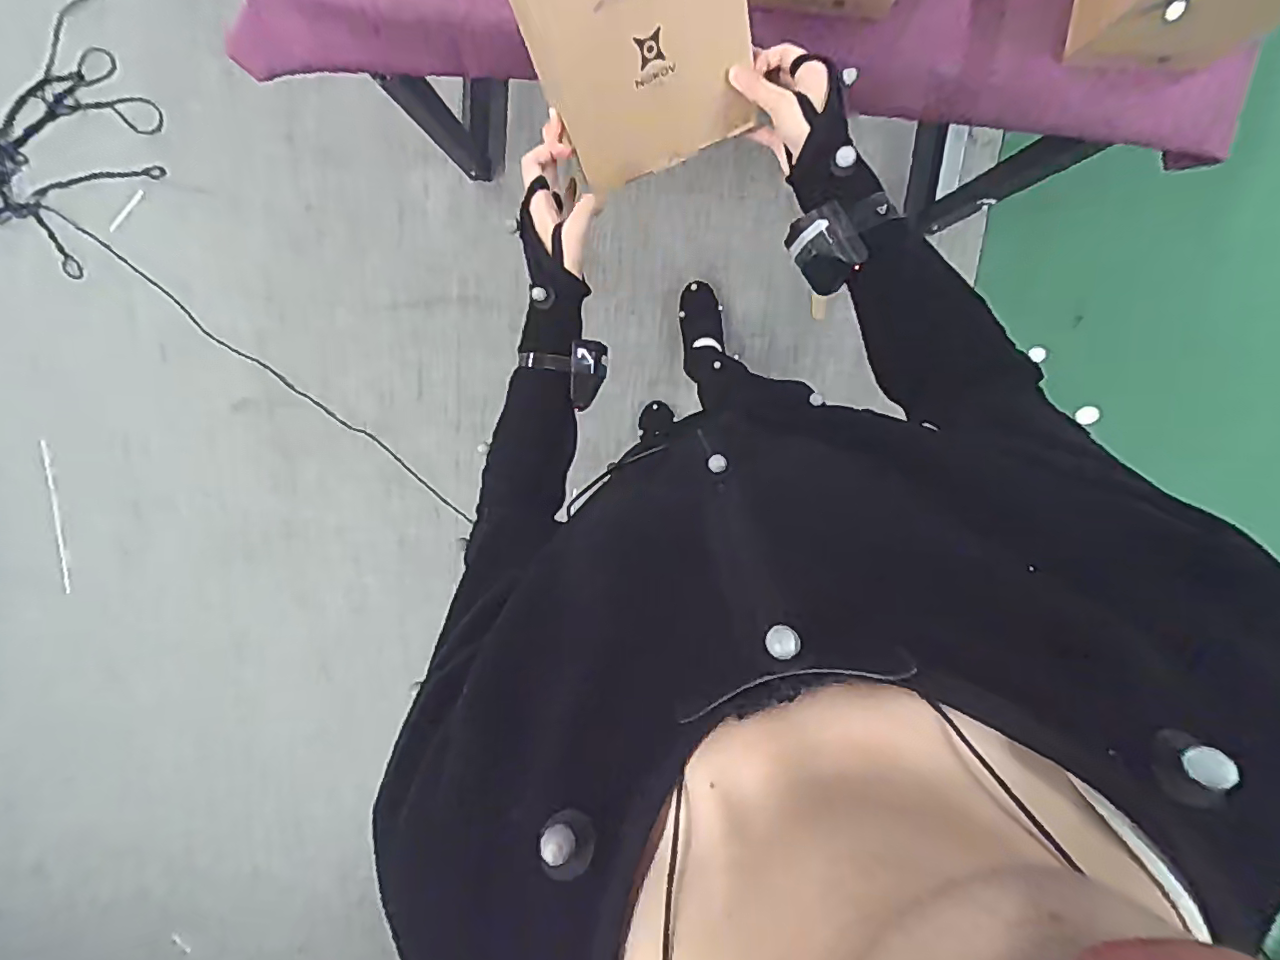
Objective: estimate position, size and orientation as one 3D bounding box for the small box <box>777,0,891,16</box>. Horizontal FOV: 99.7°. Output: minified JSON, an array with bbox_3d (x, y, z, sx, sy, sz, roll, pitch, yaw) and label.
[{"bbox_3d":[0.218,-0.626,0.552,0.168,0.176,0.179,7,100,0],"label":"small box"}]

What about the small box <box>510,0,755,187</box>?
[{"bbox_3d":[-0.016,-0.402,0.467,0.168,0.176,0.179,-23,144,3],"label":"small box"}]
